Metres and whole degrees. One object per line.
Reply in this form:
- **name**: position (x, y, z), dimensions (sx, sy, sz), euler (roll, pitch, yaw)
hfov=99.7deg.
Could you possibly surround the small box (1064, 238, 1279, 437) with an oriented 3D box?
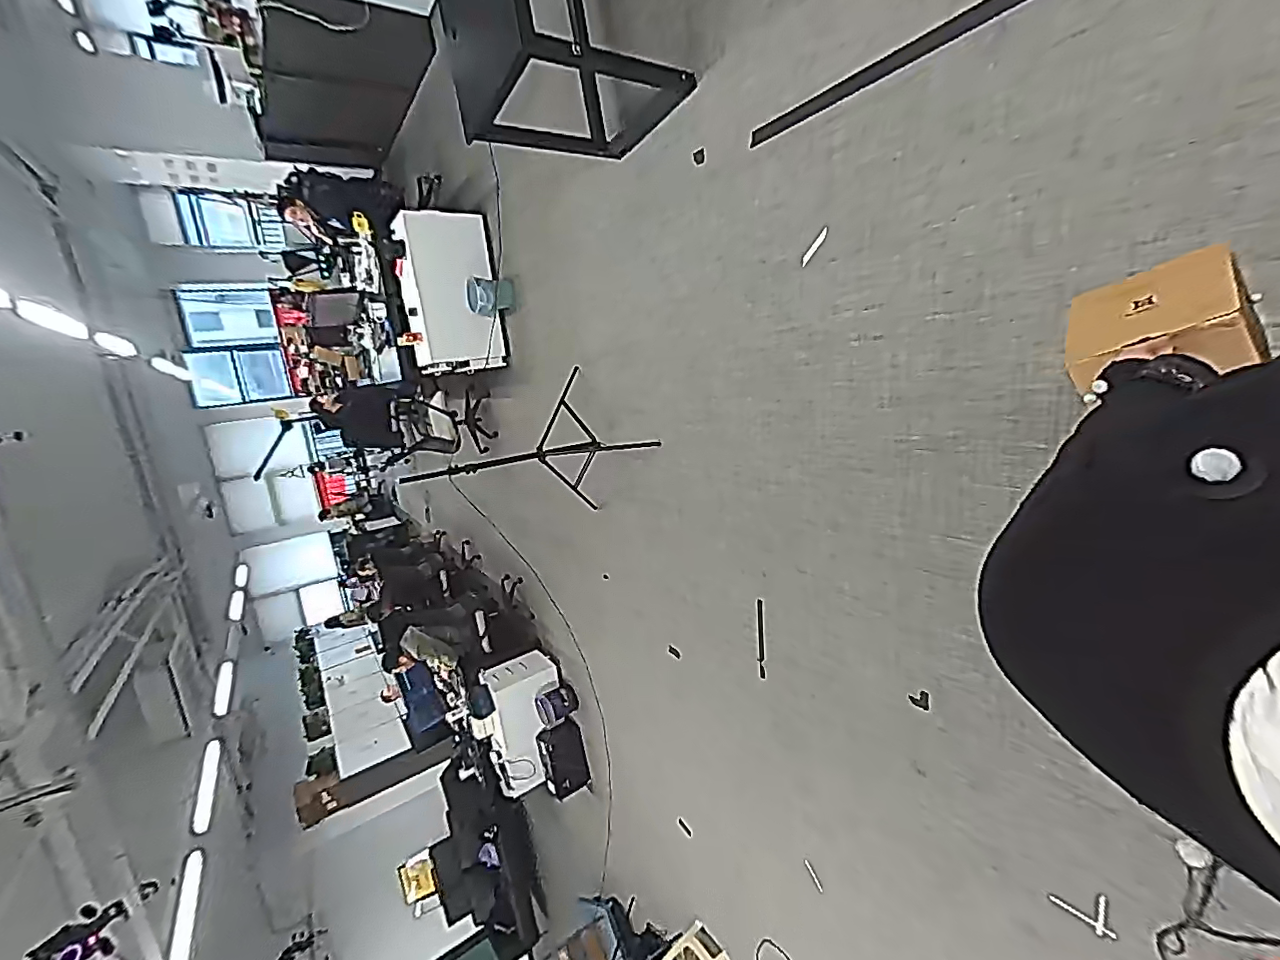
- **small box**: position (0.710, -0.176, 0.728), dimensions (0.176, 0.179, 0.168), euler (46, 147, -18)
